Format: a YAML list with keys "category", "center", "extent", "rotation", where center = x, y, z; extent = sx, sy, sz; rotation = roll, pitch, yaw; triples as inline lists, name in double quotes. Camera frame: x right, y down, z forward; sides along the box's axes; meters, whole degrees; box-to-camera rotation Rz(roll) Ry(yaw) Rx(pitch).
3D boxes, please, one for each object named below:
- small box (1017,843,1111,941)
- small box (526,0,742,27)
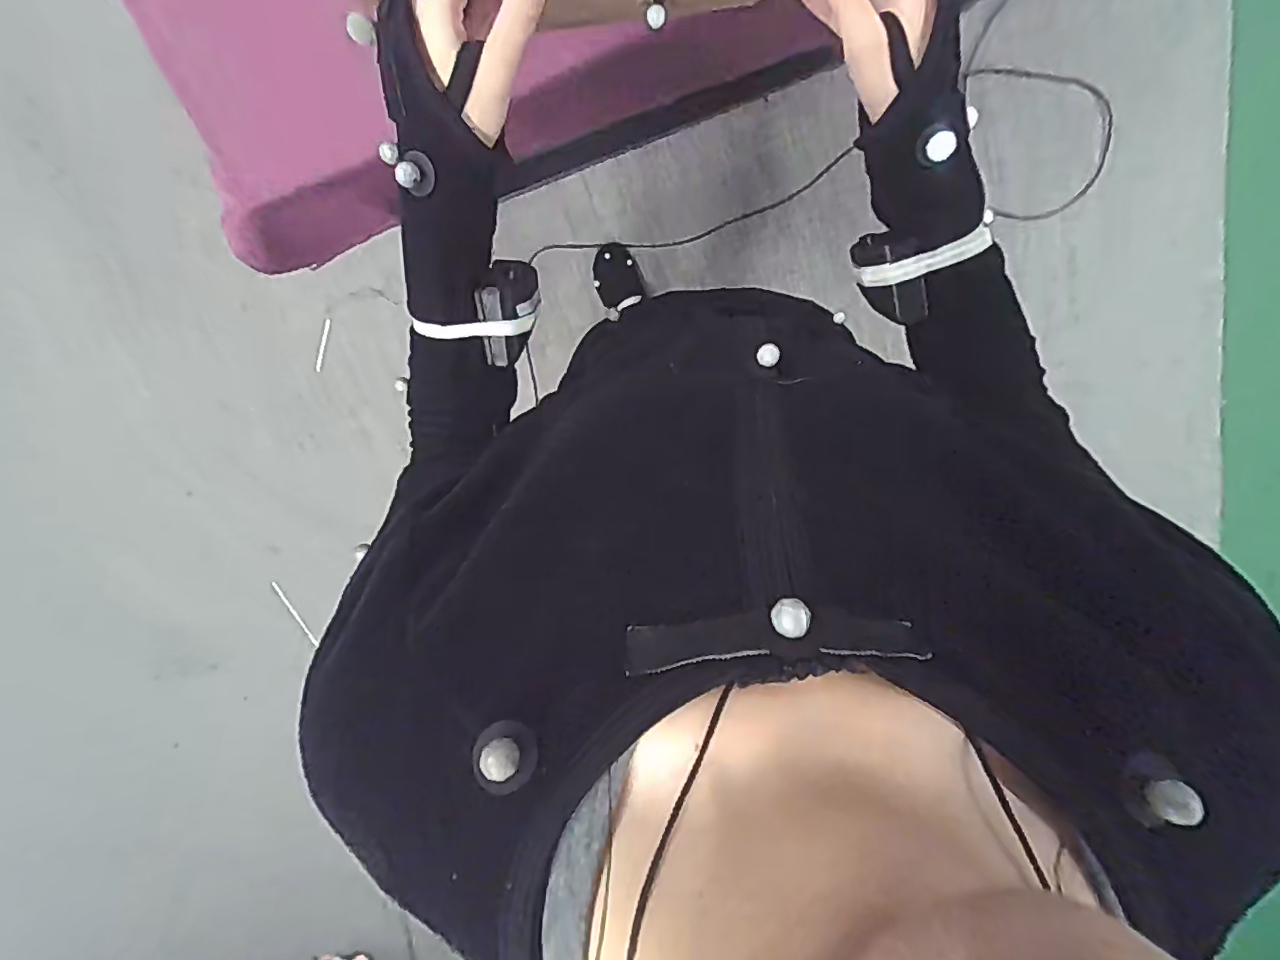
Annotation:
- category: "small box"
  center: [1.345, 1.308, 1.721]
  extent: [0.168, 0.176, 0.179]
  rotation: [-20, 109, 7]
- category: "small box"
  center: [0.007, -0.377, 0.302]
  extent: [0.179, 0.176, 0.168]
  rotation: [-9, 124, -3]
